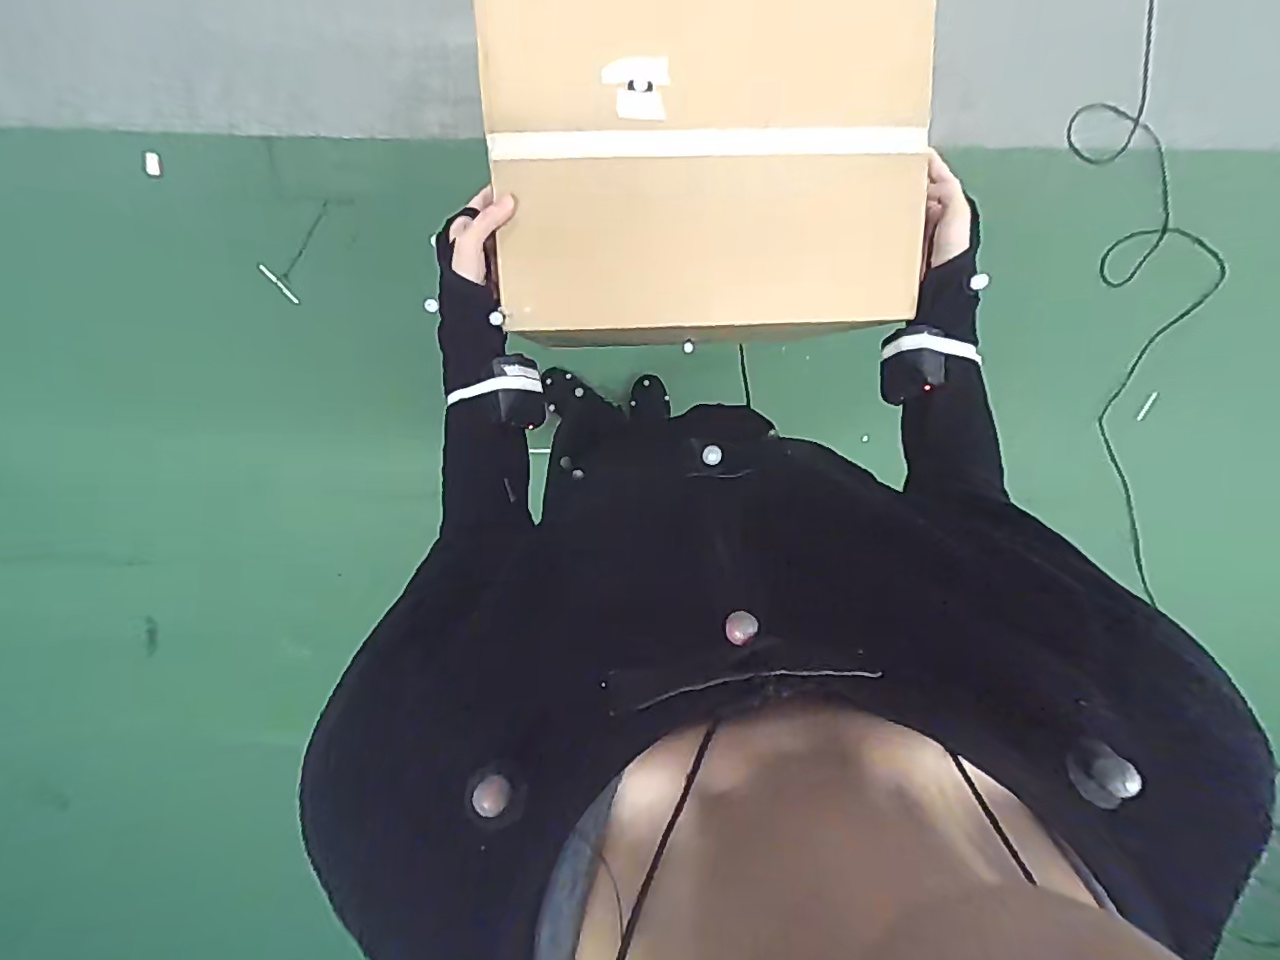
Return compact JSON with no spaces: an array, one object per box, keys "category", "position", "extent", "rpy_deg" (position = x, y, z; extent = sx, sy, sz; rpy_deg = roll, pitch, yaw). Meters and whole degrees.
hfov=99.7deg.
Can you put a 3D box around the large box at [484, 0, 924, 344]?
[{"category":"large box","position":[0.061,-0.337,0.652],"extent":[0.408,0.320,0.320],"rpy_deg":[-3,100,-2]}]
